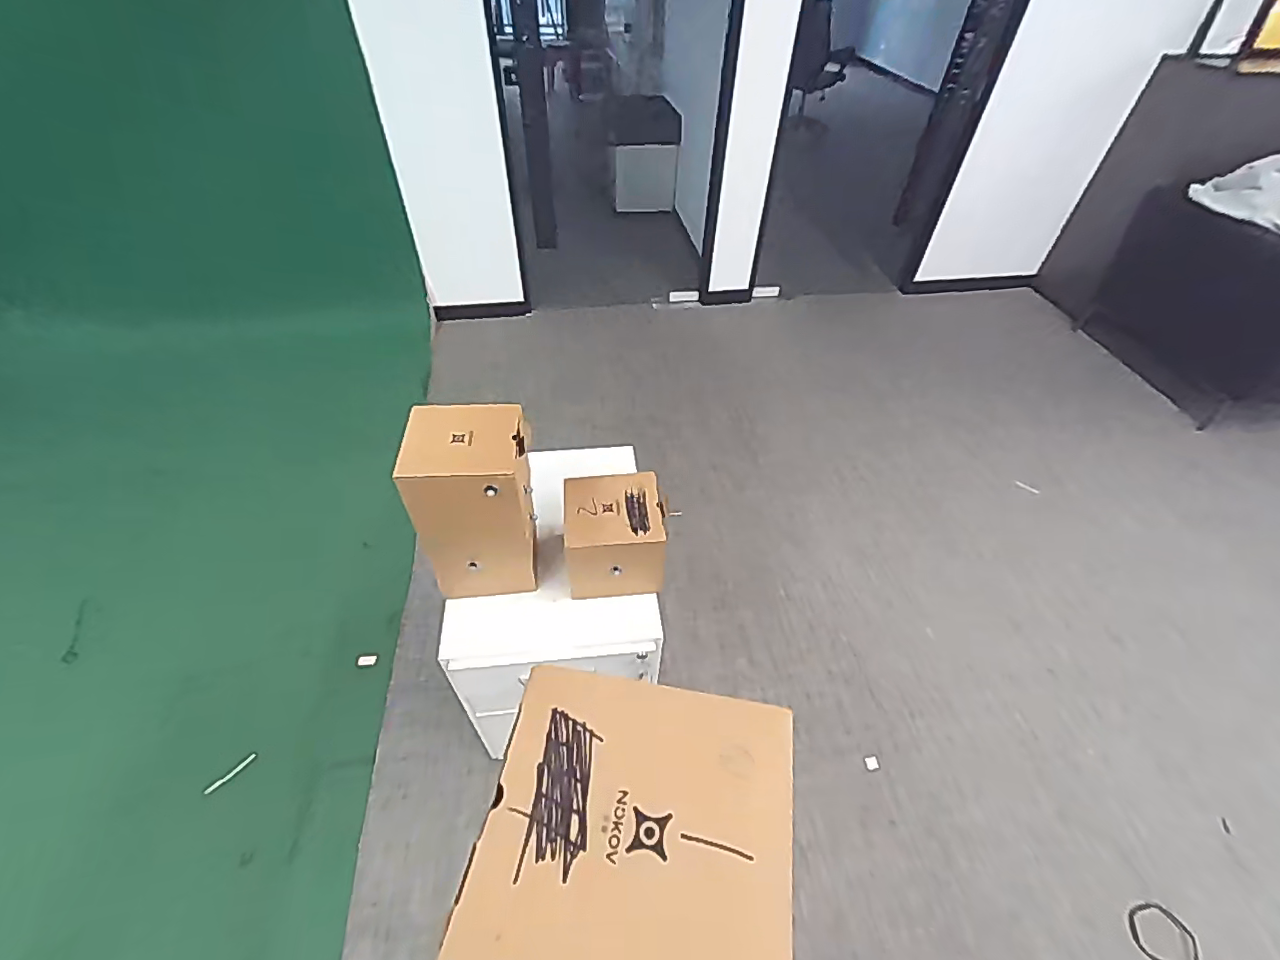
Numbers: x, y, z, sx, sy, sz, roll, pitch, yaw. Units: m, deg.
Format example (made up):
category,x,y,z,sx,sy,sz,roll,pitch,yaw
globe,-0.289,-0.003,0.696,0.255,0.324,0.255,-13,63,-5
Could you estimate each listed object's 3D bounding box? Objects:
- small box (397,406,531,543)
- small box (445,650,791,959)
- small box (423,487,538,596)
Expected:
category,x,y,z,sx,sy,sz,roll,pitch,yaw
small box,-0.279,-0.007,0.900,0.179,0.176,0.168,-1,46,-8
small box,0.000,0.244,0.374,0.179,0.176,0.168,8,48,7
small box,-0.289,0.104,1.019,0.179,0.176,0.168,-4,47,-7
